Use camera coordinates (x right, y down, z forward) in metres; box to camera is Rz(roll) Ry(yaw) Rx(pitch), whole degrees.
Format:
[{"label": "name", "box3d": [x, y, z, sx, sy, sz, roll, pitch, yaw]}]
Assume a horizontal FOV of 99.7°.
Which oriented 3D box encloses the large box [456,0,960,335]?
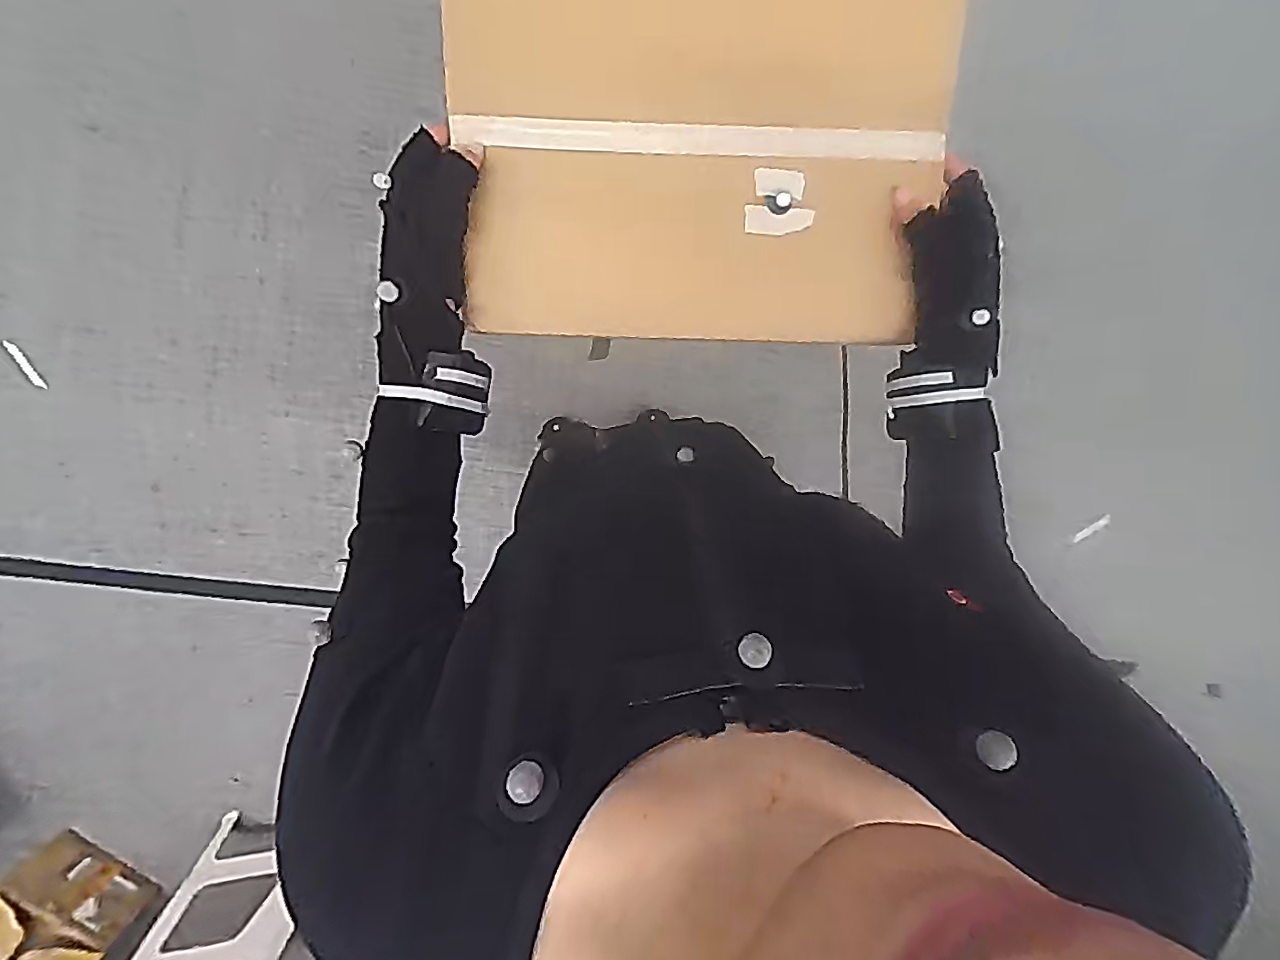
[{"label": "large box", "box3d": [0.047, -0.322, 0.591, 0.408, 0.320, 0.320, 1, 106, -3]}]
